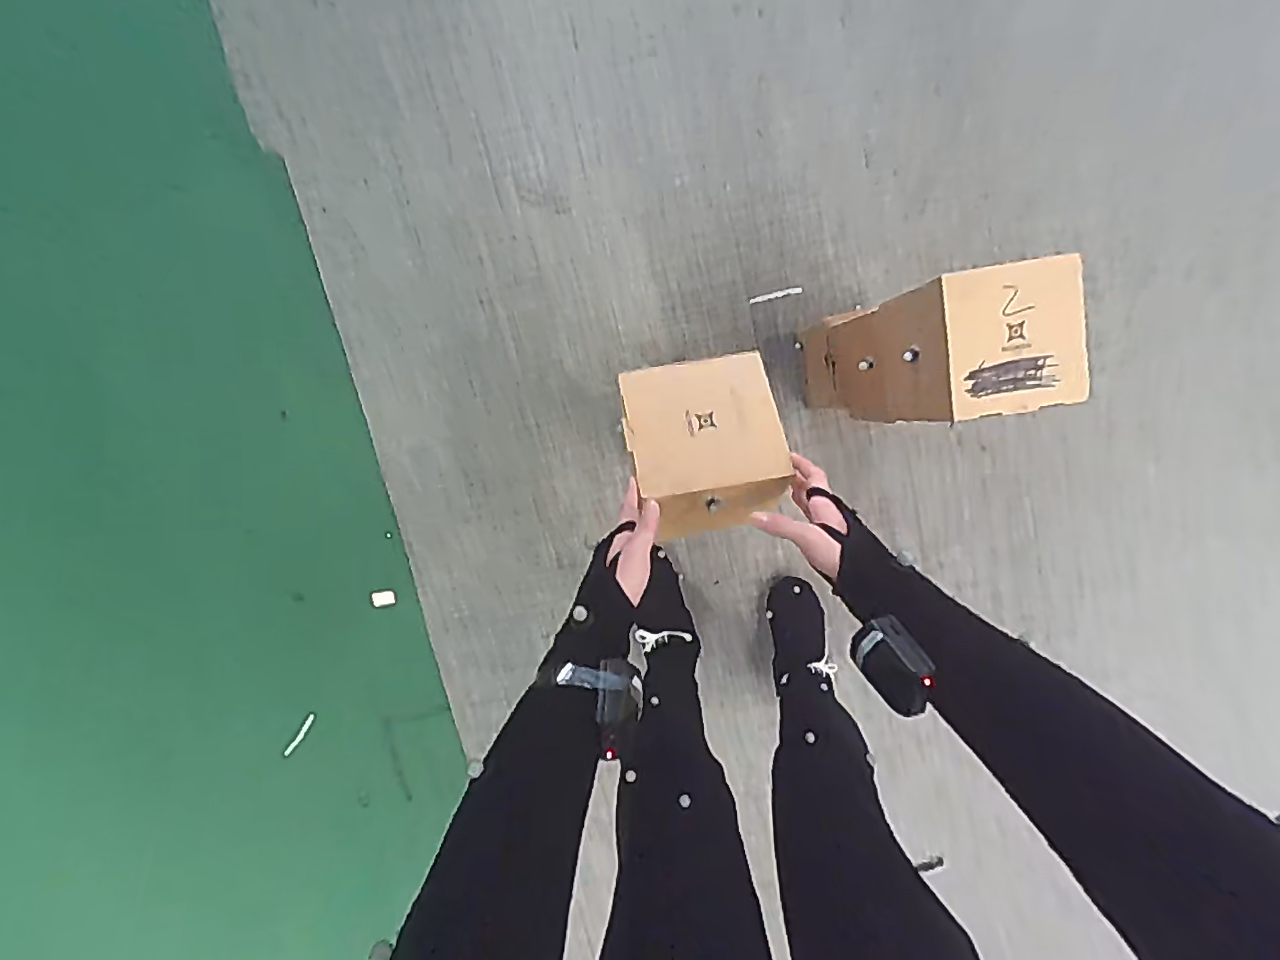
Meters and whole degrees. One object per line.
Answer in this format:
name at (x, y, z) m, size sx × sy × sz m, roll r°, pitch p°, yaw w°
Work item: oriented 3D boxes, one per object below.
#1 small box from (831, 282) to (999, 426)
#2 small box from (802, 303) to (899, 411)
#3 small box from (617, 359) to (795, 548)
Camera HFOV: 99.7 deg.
small box at (0.434, -0.196, 0.877) m, size 0.168 × 0.176 × 0.179 m, roll -17°, pitch 97°, yaw 1°
small box at (0.423, -0.229, 1.036) m, size 0.179 × 0.176 × 0.168 m, roll -13°, pitch 97°, yaw 0°
small box at (0.074, -0.024, 0.683) m, size 0.179 × 0.176 × 0.168 m, roll -10°, pitch 64°, yaw -2°
